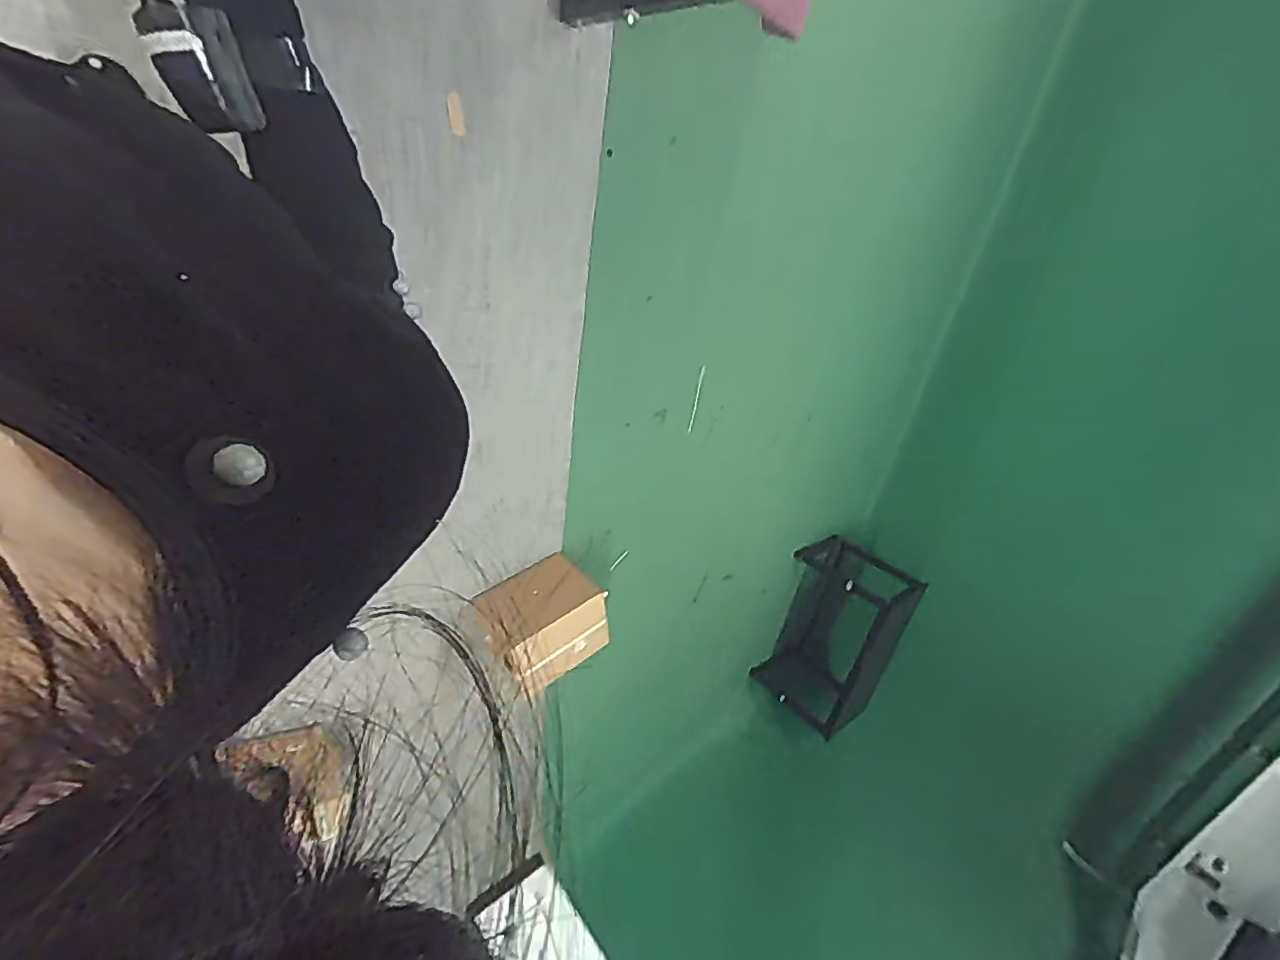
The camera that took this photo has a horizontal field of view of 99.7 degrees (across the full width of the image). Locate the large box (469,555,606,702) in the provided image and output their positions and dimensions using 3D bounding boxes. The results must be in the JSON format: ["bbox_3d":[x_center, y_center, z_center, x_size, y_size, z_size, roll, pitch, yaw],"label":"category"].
[{"bbox_3d":[-0.394,0.568,2.130,0.408,0.320,0.320,-29,134,-32],"label":"large box"}]
